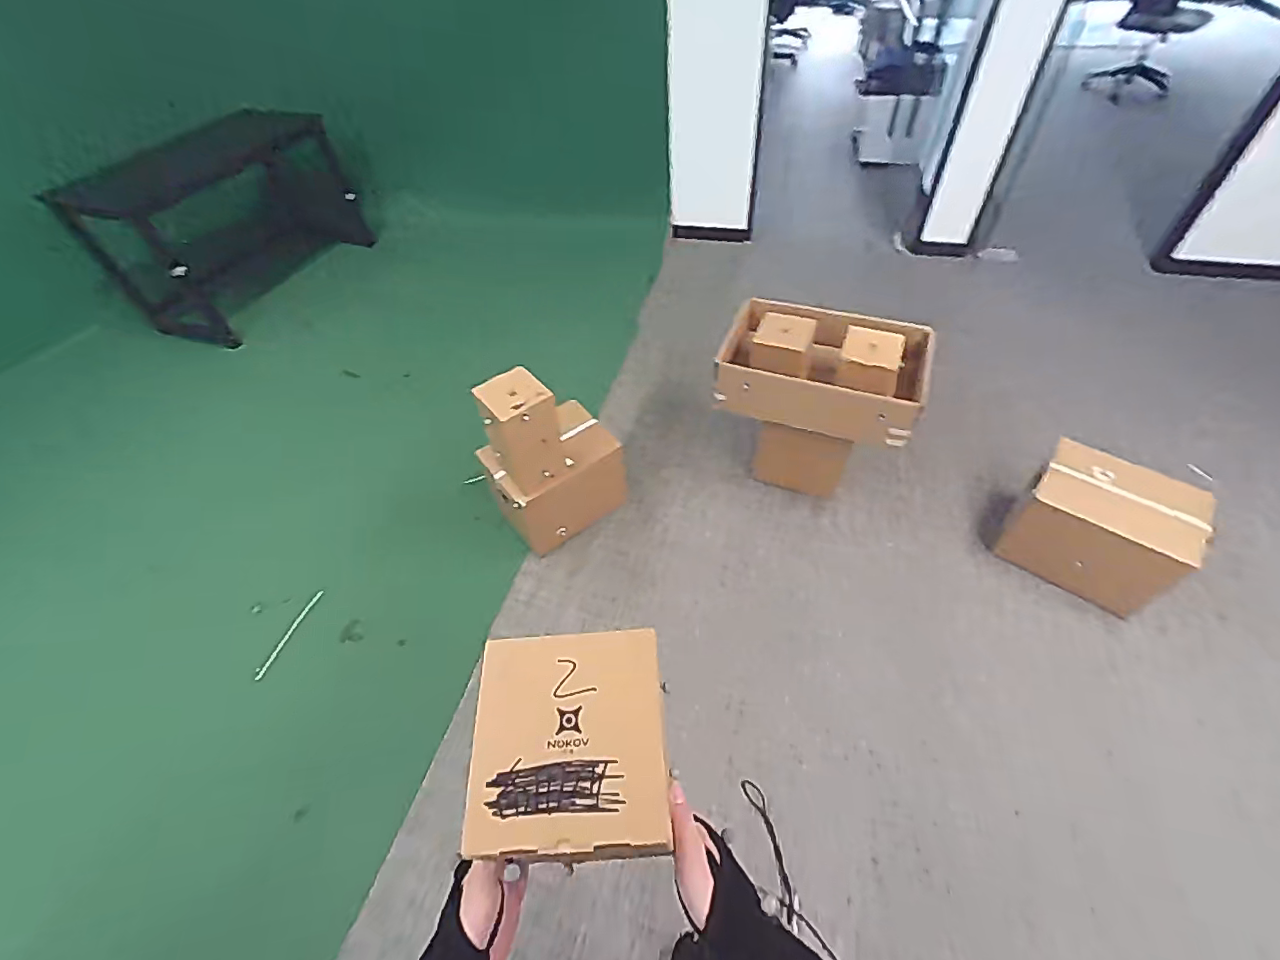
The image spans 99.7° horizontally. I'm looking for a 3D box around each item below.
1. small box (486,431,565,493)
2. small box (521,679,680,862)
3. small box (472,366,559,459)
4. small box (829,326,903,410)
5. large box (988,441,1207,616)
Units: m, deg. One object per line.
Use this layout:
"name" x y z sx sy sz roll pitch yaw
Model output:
"small box" -0.354 -0.093 1.693 0.168 0.176 0.179 -34 57 -22
"small box" -0.039 0.360 0.665 0.168 0.176 0.179 -4 53 2
"small box" -0.355 -0.192 1.561 0.168 0.176 0.179 -34 56 -23
"small box" 0.708 -0.353 1.704 0.168 0.176 0.179 17 55 17
"large box" 1.406 0.149 1.693 0.408 0.320 0.320 30 58 27
